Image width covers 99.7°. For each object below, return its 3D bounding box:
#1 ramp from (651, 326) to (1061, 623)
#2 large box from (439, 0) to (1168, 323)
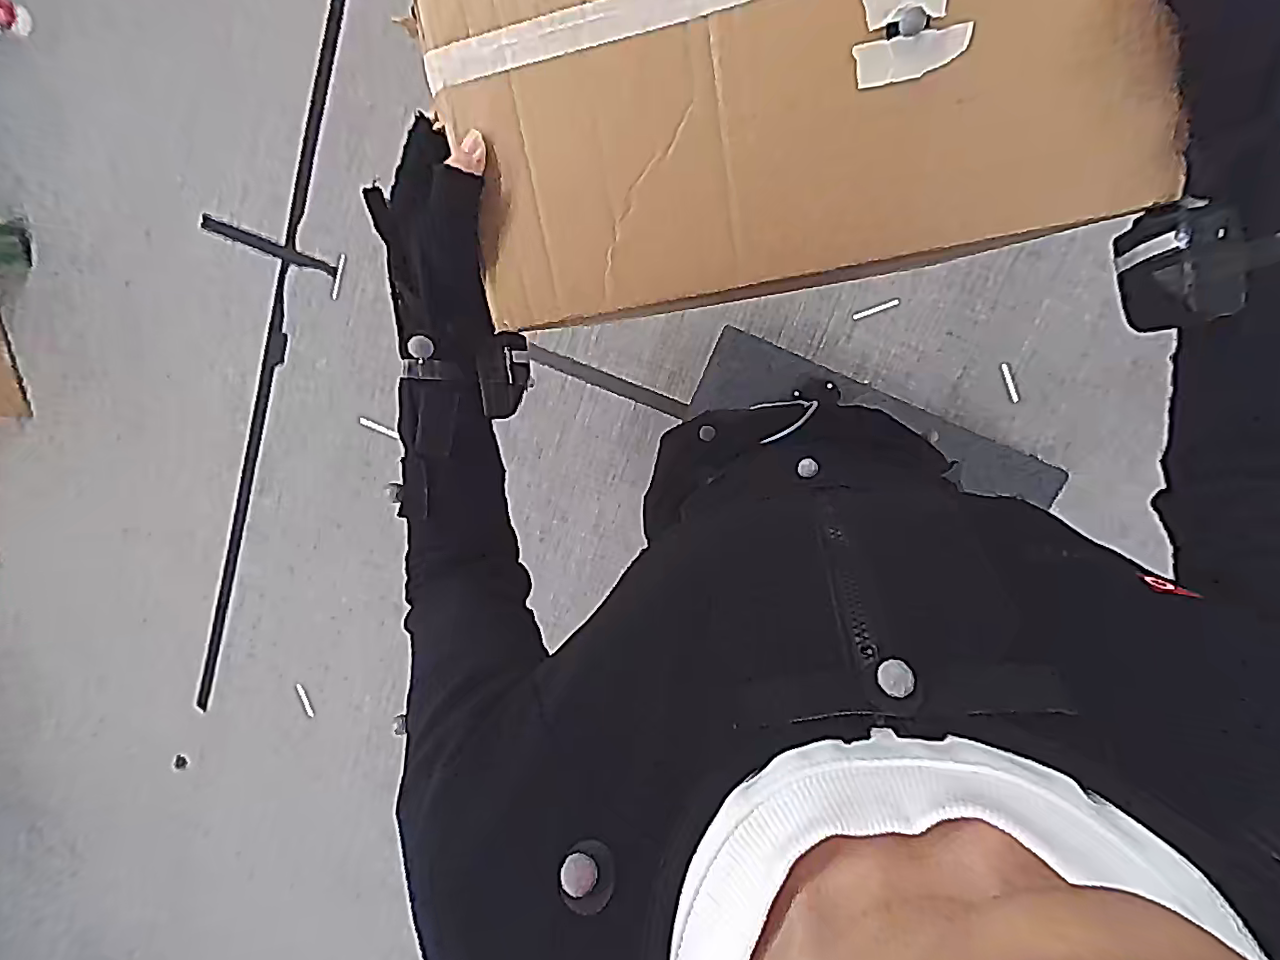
[{"bbox_3d":[0.576,0.005,1.453,0.991,0.206,0.509,22,101,6],"label":"ramp"},{"bbox_3d":[0.094,-0.325,0.449,0.408,0.320,0.320,-8,106,10],"label":"large box"}]
